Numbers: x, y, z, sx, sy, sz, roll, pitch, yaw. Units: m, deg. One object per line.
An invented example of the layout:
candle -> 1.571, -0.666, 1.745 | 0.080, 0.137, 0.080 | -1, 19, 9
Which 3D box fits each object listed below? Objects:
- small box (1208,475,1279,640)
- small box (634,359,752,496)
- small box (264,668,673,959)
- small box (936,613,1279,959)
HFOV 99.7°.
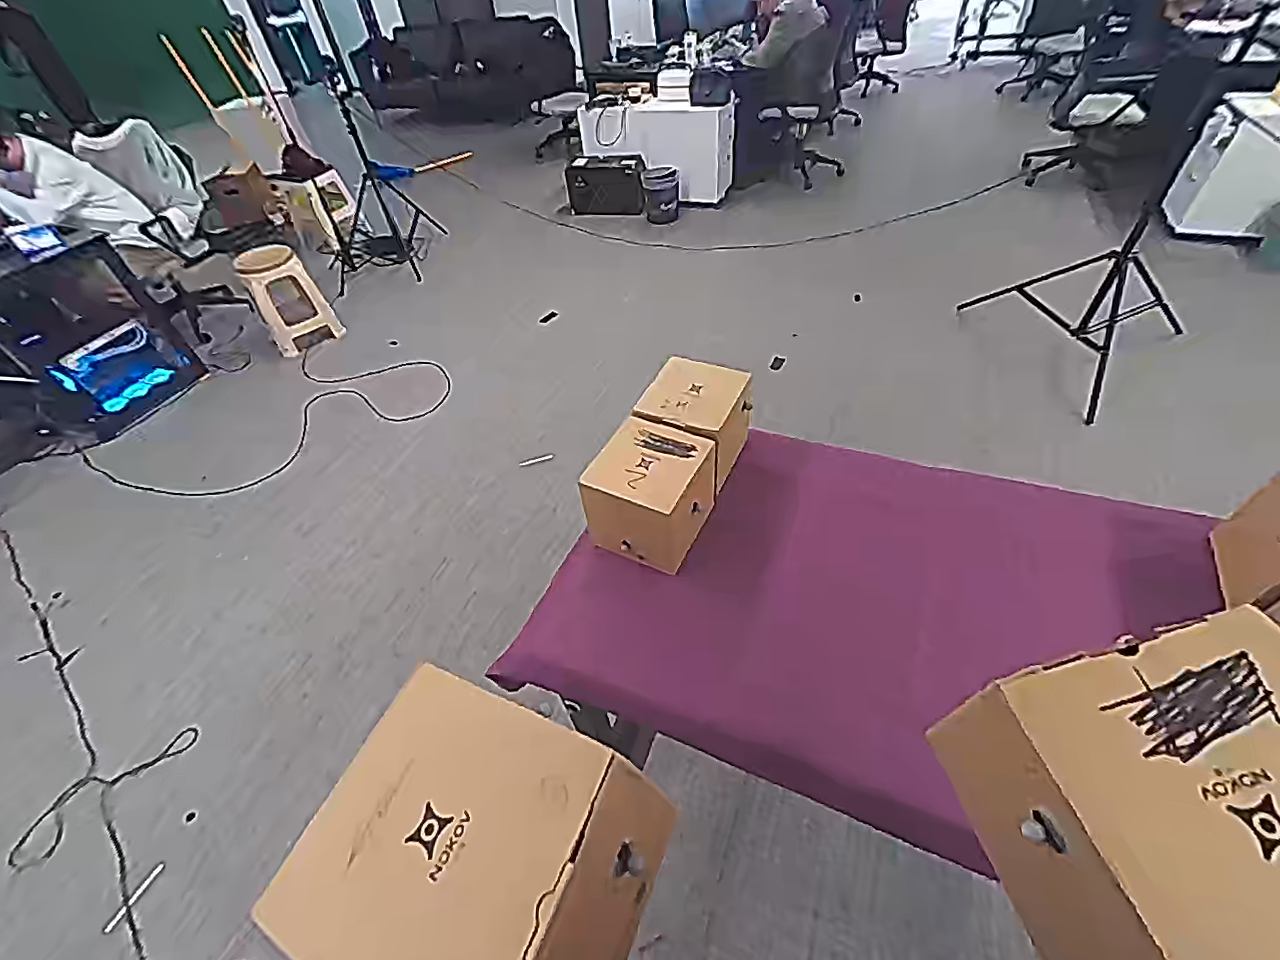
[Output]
small box -> 0.943, 0.117, 0.742 | 0.168, 0.176, 0.179 | 18, 50, 21
small box -> 0.103, -0.101, 1.040 | 0.168, 0.176, 0.179 | 18, 52, 22
small box -> -0.094, 0.264, 0.379 | 0.179, 0.176, 0.168 | 9, 53, 28
small box -> 0.324, 0.213, 0.342 | 0.168, 0.176, 0.179 | -17, 54, 0
